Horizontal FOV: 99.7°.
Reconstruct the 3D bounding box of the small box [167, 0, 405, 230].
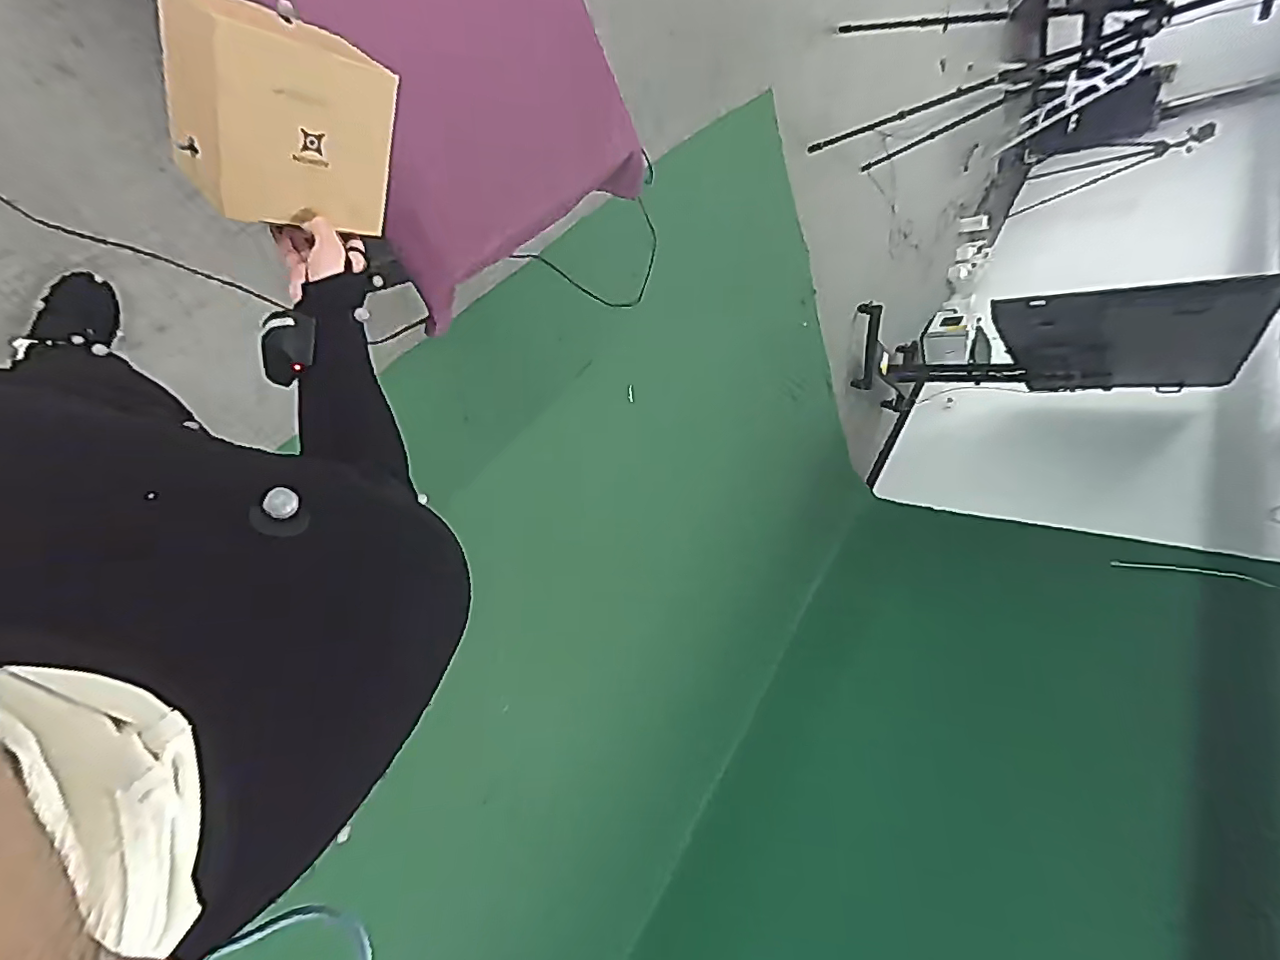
[{"bbox_3d":[-0.386,-0.406,0.593,0.168,0.176,0.179,-18,143,-47],"label":"small box"}]
